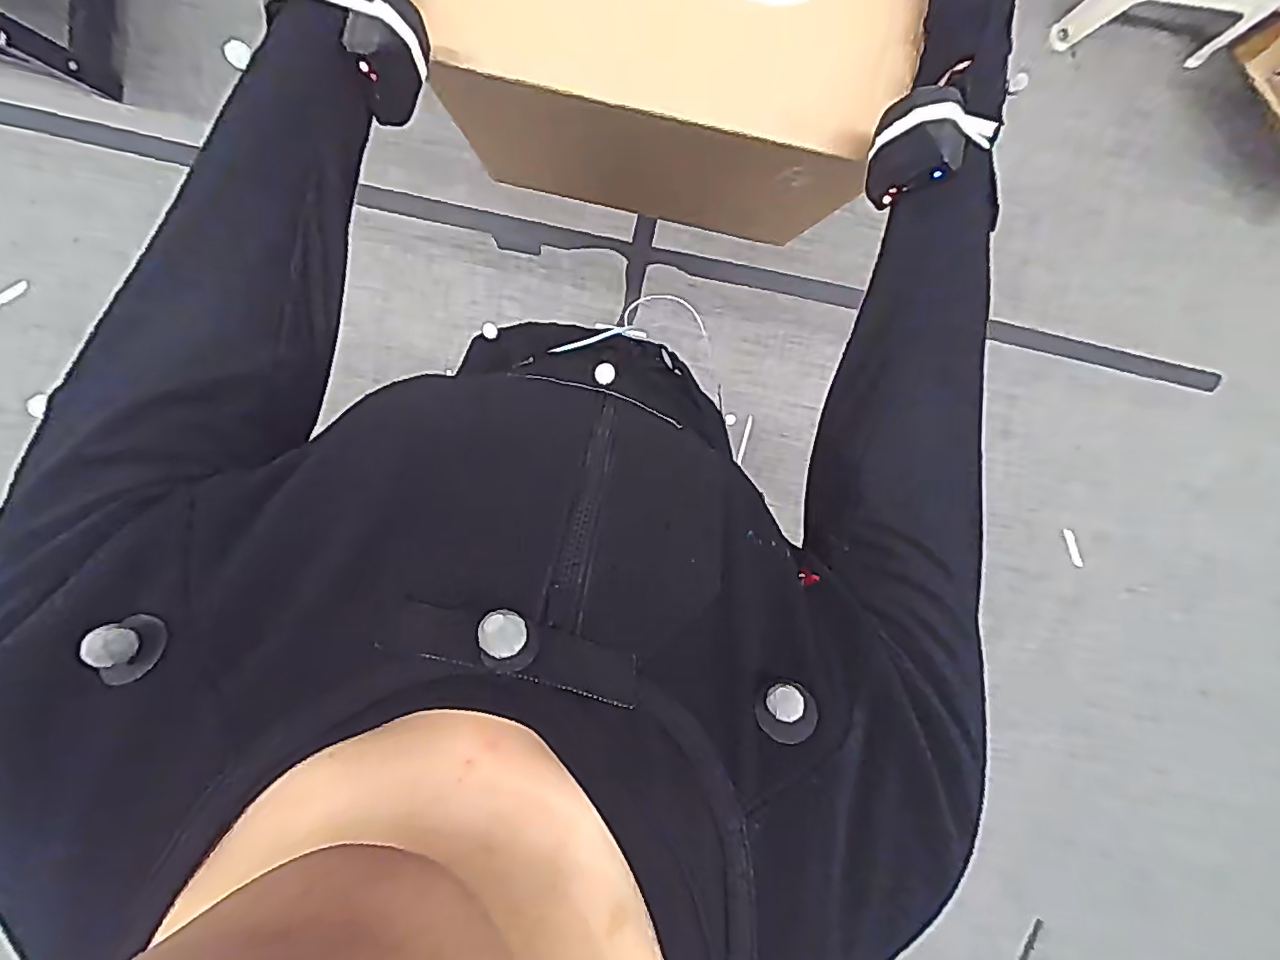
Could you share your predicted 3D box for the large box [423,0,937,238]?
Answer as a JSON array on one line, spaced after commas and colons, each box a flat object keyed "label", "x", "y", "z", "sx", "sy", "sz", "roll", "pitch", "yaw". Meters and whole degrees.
[{"label": "large box", "x": 0.040, "y": -0.477, "z": 0.552, "sx": 0.408, "sy": 0.320, "sz": 0.320, "roll": 10, "pitch": 103, "yaw": -6}]
